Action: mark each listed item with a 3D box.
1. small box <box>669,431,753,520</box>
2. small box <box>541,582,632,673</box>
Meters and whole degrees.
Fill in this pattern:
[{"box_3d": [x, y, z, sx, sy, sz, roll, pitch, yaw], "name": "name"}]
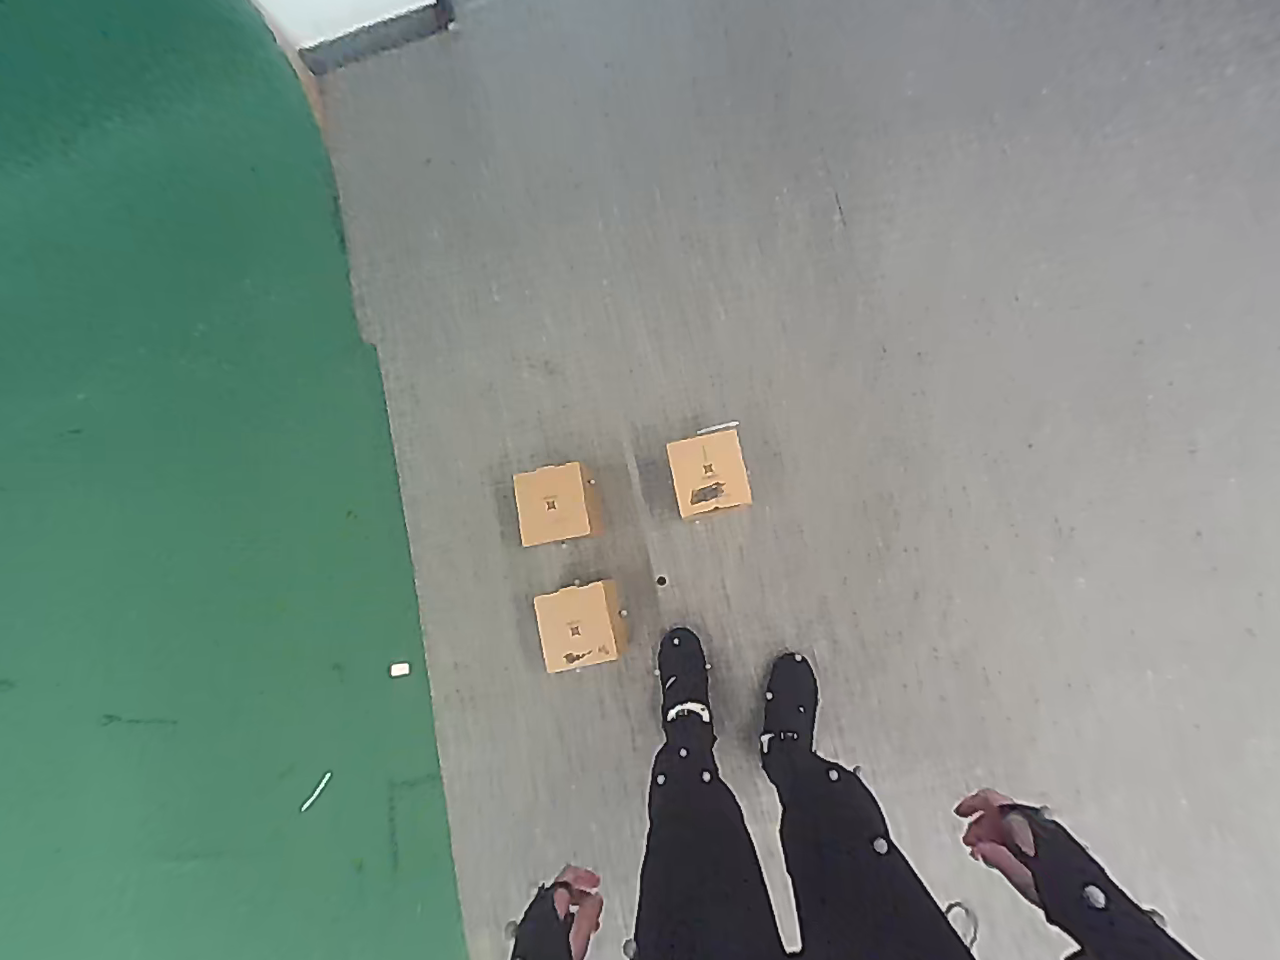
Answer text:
[{"box_3d": [0.171, -0.002, 1.297, 0.168, 0.176, 0.179, -12, 80, 6], "name": "small box"}, {"box_3d": [-0.123, 0.346, 1.292, 0.168, 0.176, 0.179, -13, 79, 6], "name": "small box"}]
